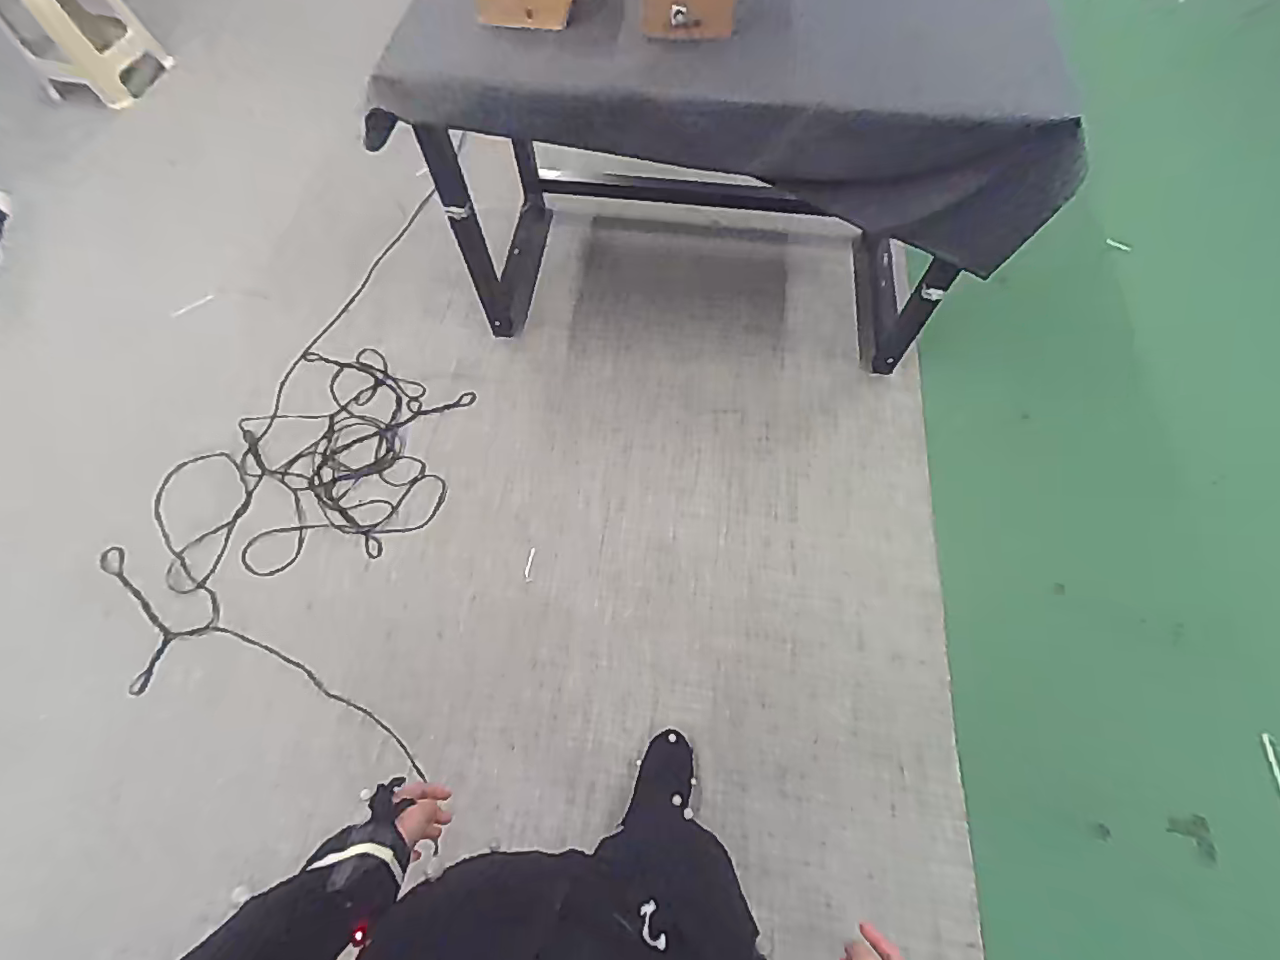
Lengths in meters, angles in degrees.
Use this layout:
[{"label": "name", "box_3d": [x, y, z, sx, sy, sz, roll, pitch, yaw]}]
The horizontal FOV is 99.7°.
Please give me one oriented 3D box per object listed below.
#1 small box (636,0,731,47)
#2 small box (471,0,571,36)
[{"label": "small box", "box_3d": [0.076, -0.914, 0.965, 0.168, 0.176, 0.179, -1, 65, 1]}, {"label": "small box", "box_3d": [-0.221, -0.946, 0.980, 0.168, 0.176, 0.179, 5, 64, 2]}]
